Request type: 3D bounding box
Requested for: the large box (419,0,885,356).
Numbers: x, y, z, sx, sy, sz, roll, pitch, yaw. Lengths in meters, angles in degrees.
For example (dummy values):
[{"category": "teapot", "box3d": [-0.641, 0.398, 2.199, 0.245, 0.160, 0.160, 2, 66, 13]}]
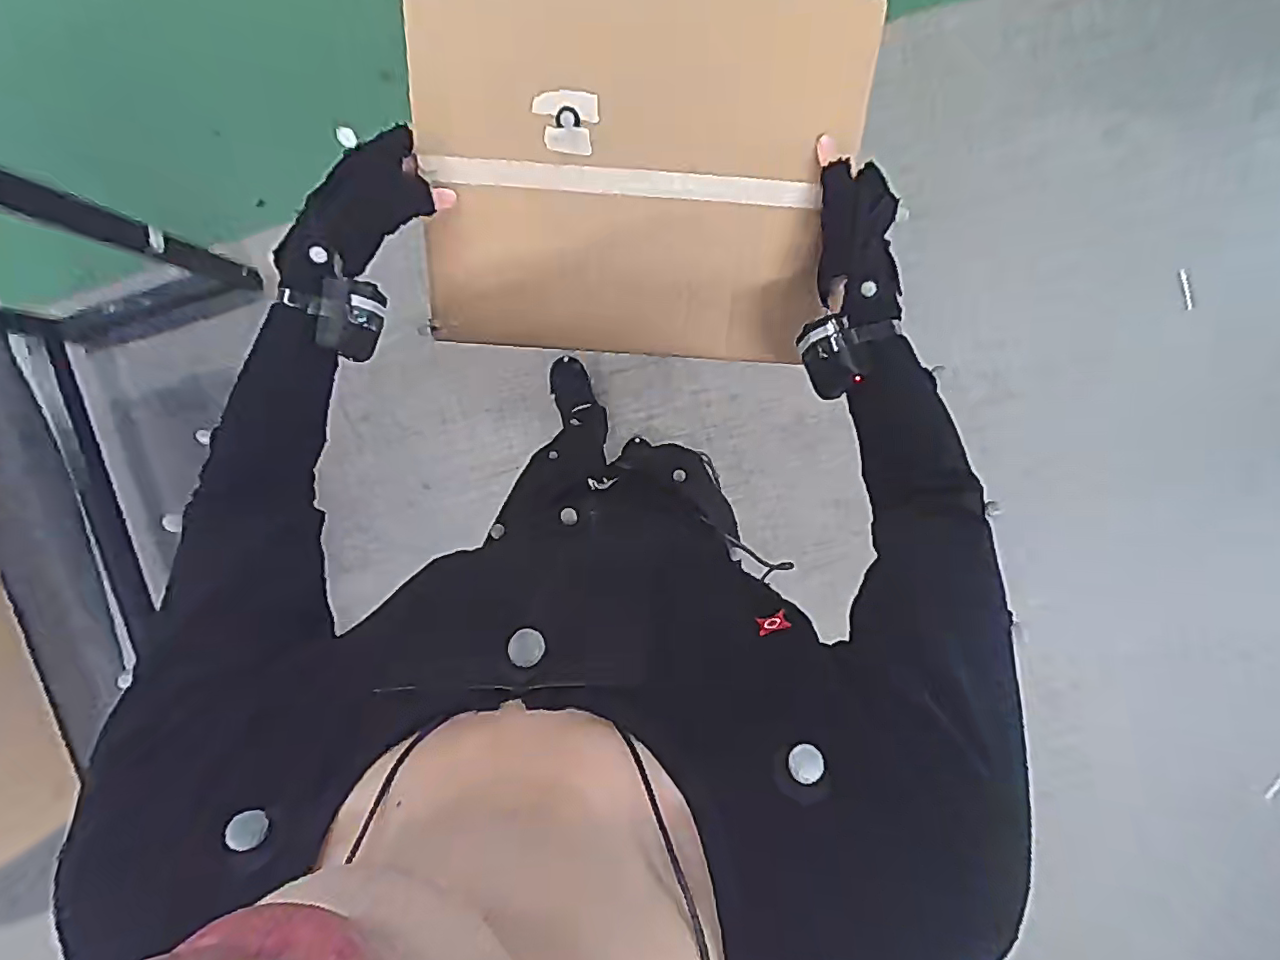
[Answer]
[{"category": "large box", "box3d": [0.004, -0.344, 0.647, 0.408, 0.320, 0.320, 4, 113, -2]}]
